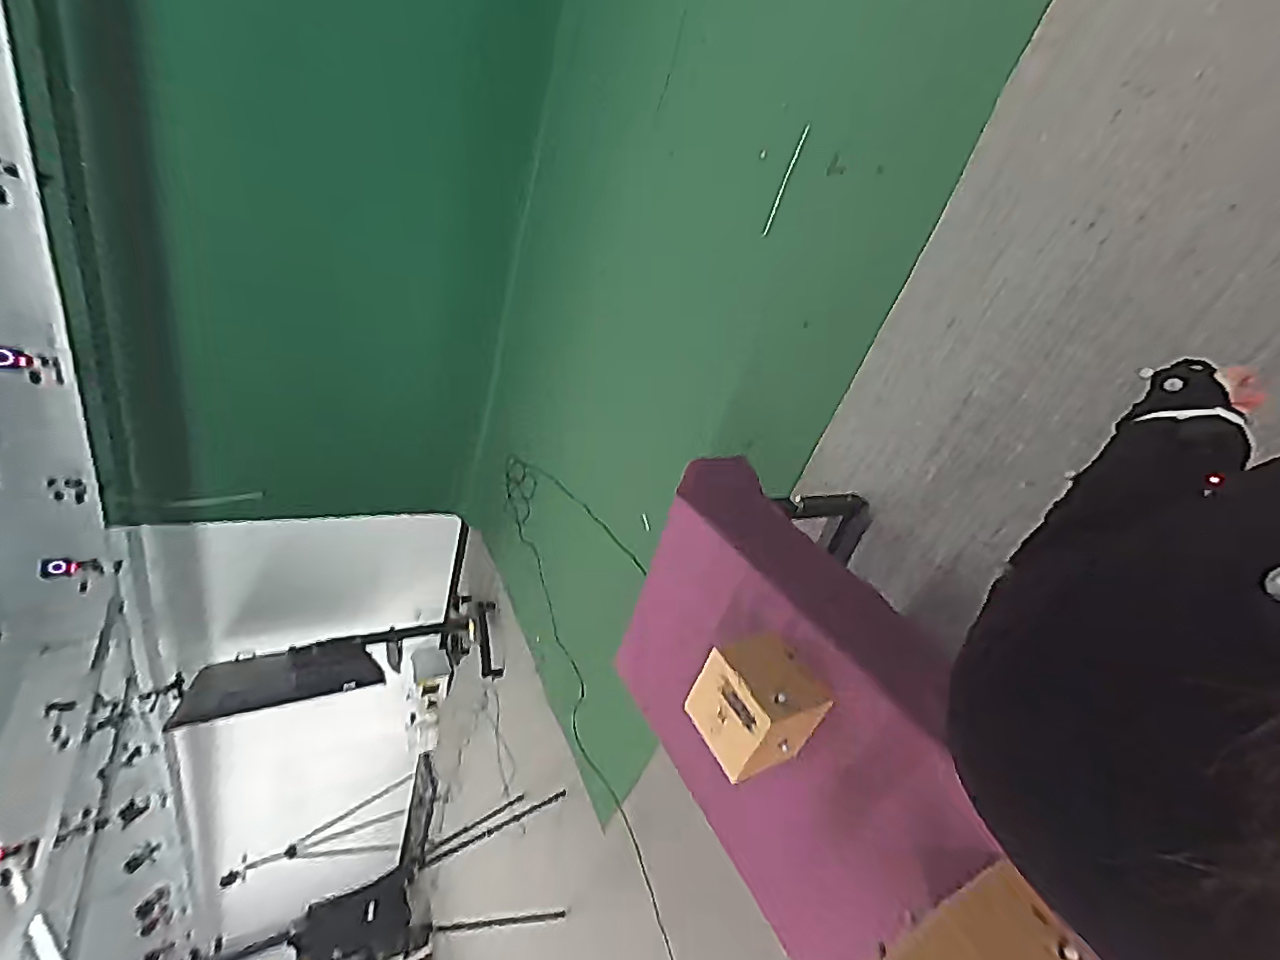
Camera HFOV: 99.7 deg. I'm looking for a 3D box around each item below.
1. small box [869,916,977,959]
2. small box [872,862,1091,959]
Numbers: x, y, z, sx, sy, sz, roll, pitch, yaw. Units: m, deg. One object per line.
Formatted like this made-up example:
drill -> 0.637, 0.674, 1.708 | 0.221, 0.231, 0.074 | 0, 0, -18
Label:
small box -> 0.304, 0.635, 0.592 | 0.168, 0.176, 0.179 | 50, 131, 42
small box -> 0.441, 0.634, 0.684 | 0.168, 0.176, 0.179 | 51, 130, 42
